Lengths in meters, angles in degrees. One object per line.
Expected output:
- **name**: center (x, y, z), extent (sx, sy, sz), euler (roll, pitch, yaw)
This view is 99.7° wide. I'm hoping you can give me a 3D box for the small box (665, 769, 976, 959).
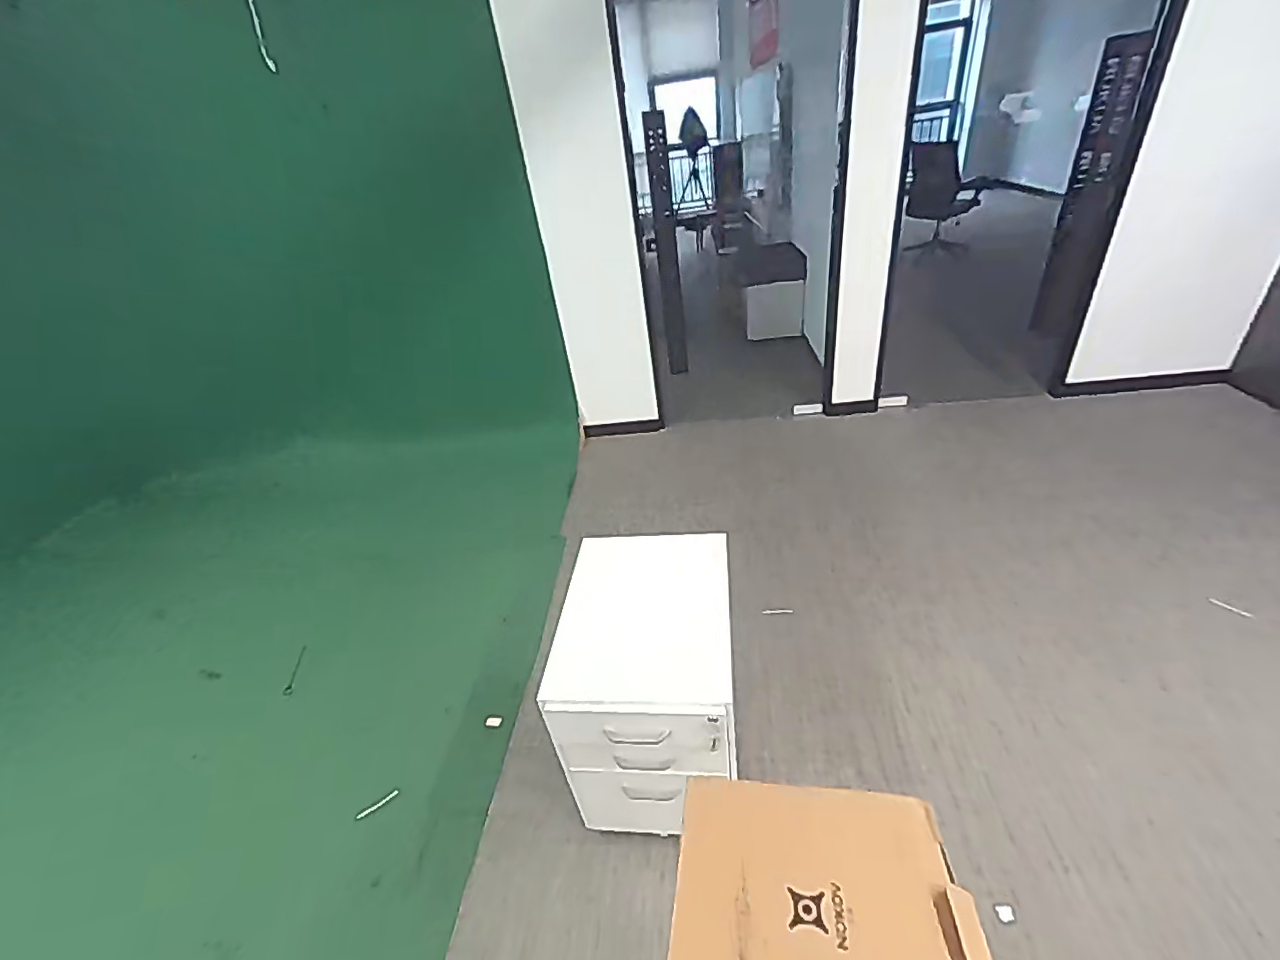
- **small box**: center (0.116, 0.332, 0.367), extent (0.179, 0.176, 0.168), euler (-3, 25, 13)
